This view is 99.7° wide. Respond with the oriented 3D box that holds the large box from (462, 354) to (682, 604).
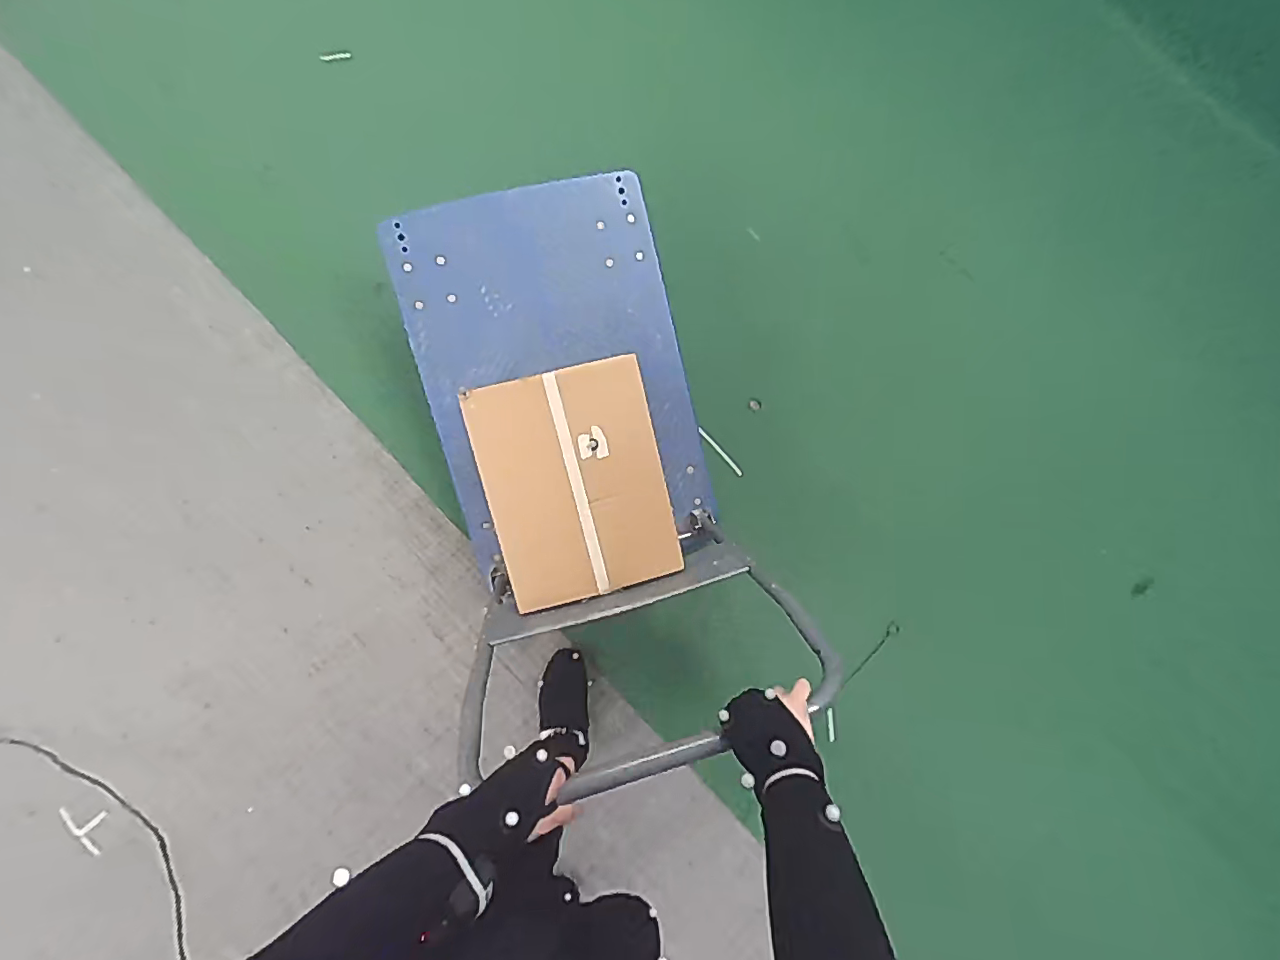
[{"bbox_3d":[-0.132,-0.014,1.126,0.320,0.320,0.408,-15,98,-6],"label":"large box"}]
